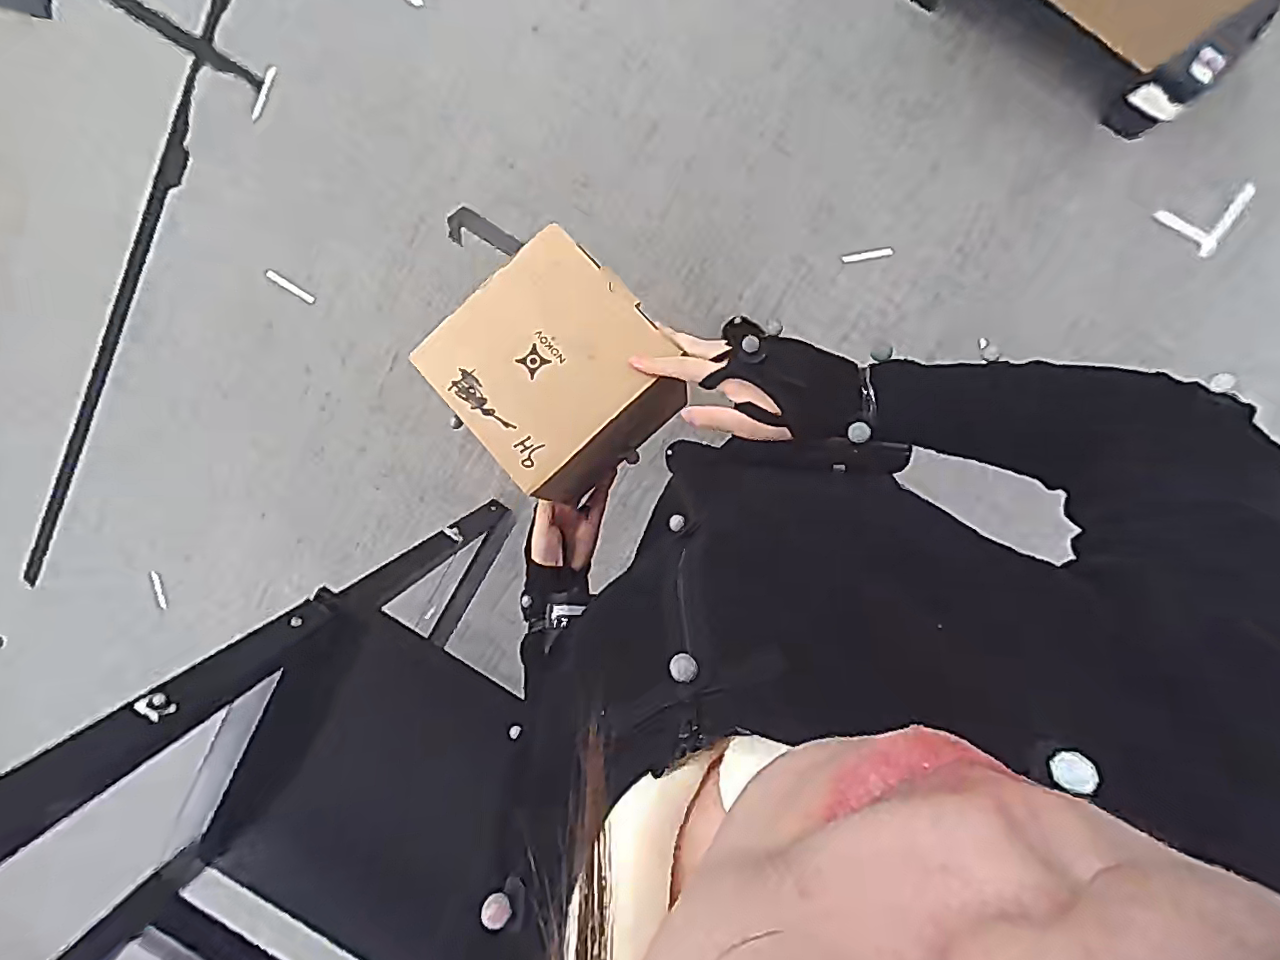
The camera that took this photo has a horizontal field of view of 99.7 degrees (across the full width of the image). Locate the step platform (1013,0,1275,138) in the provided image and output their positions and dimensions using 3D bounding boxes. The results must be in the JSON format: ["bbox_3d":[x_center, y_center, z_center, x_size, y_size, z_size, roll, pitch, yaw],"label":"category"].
[{"bbox_3d":[0.906,-1.058,1.111,0.684,0.204,0.286,38,102,0],"label":"step platform"}]

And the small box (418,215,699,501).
[{"bbox_3d":[-0.063,-0.098,0.517,0.179,0.176,0.168,-41,81,-1],"label":"small box"}]

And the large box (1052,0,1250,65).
[{"bbox_3d":[0.902,-1.006,0.877,0.408,0.320,0.320,36,101,1],"label":"large box"}]
